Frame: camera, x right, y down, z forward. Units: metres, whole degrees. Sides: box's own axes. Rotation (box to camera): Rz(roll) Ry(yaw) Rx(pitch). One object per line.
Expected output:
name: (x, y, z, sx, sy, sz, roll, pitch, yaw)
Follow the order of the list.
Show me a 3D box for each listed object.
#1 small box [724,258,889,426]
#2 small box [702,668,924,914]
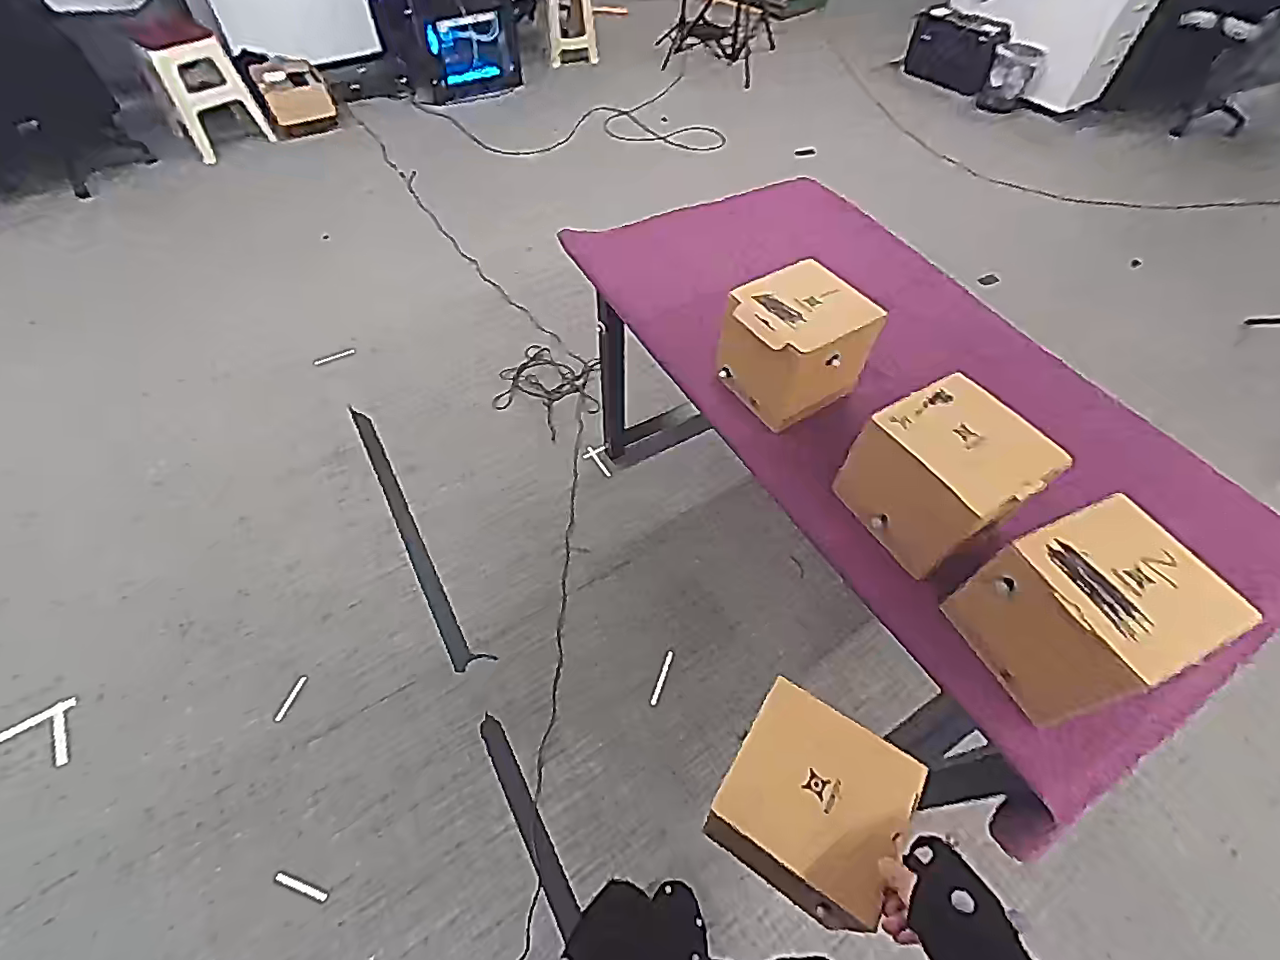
small box: (0.250, -0.216, 0.864, 0.179, 0.176, 0.168, -28, 61, -20)
small box: (0.185, 0.358, 0.623, 0.179, 0.176, 0.168, 28, 57, 20)
